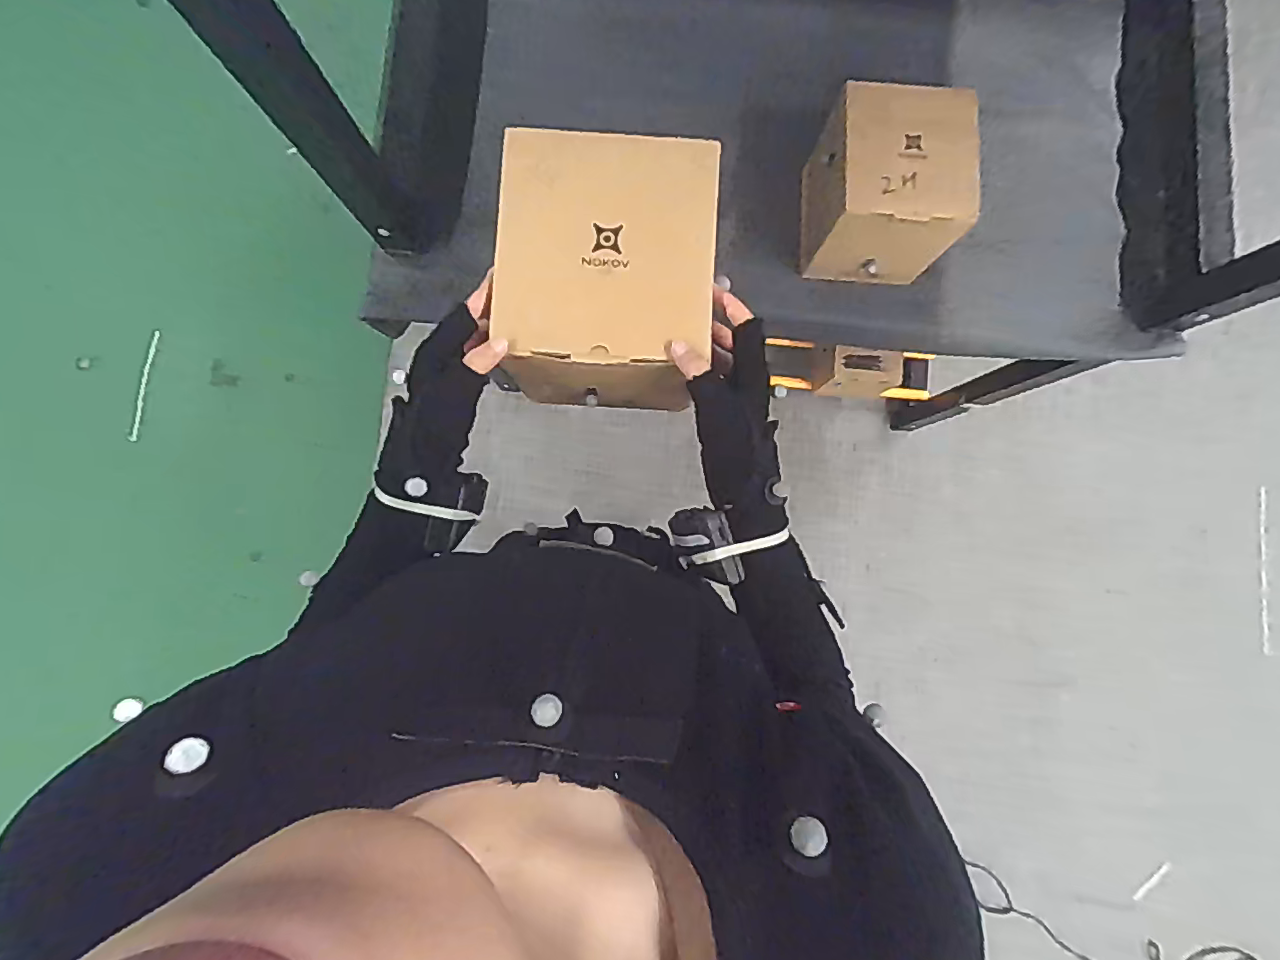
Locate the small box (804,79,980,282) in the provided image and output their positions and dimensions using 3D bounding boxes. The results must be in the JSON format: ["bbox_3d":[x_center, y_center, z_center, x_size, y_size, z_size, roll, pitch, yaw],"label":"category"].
[{"bbox_3d":[0.332,-0.398,0.742,0.168,0.176,0.179,3,83,-1],"label":"small box"}]
